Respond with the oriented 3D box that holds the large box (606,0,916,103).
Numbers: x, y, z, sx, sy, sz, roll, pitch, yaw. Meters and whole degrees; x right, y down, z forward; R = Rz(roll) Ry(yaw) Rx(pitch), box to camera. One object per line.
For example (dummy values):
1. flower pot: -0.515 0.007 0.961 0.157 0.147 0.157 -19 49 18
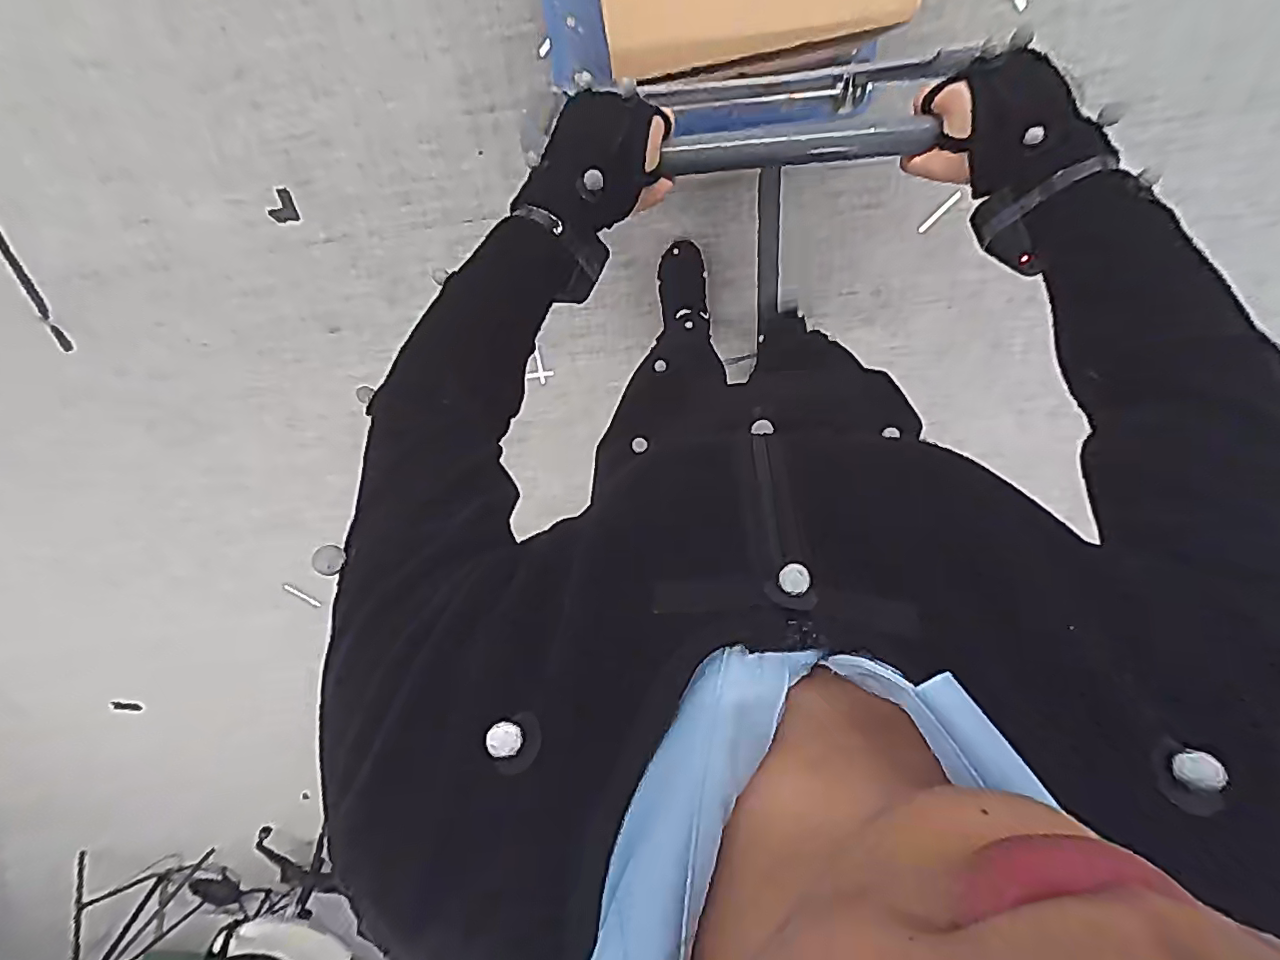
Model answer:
1. large box: 0.140 -0.785 0.785 0.408 0.320 0.320 -9 122 5
